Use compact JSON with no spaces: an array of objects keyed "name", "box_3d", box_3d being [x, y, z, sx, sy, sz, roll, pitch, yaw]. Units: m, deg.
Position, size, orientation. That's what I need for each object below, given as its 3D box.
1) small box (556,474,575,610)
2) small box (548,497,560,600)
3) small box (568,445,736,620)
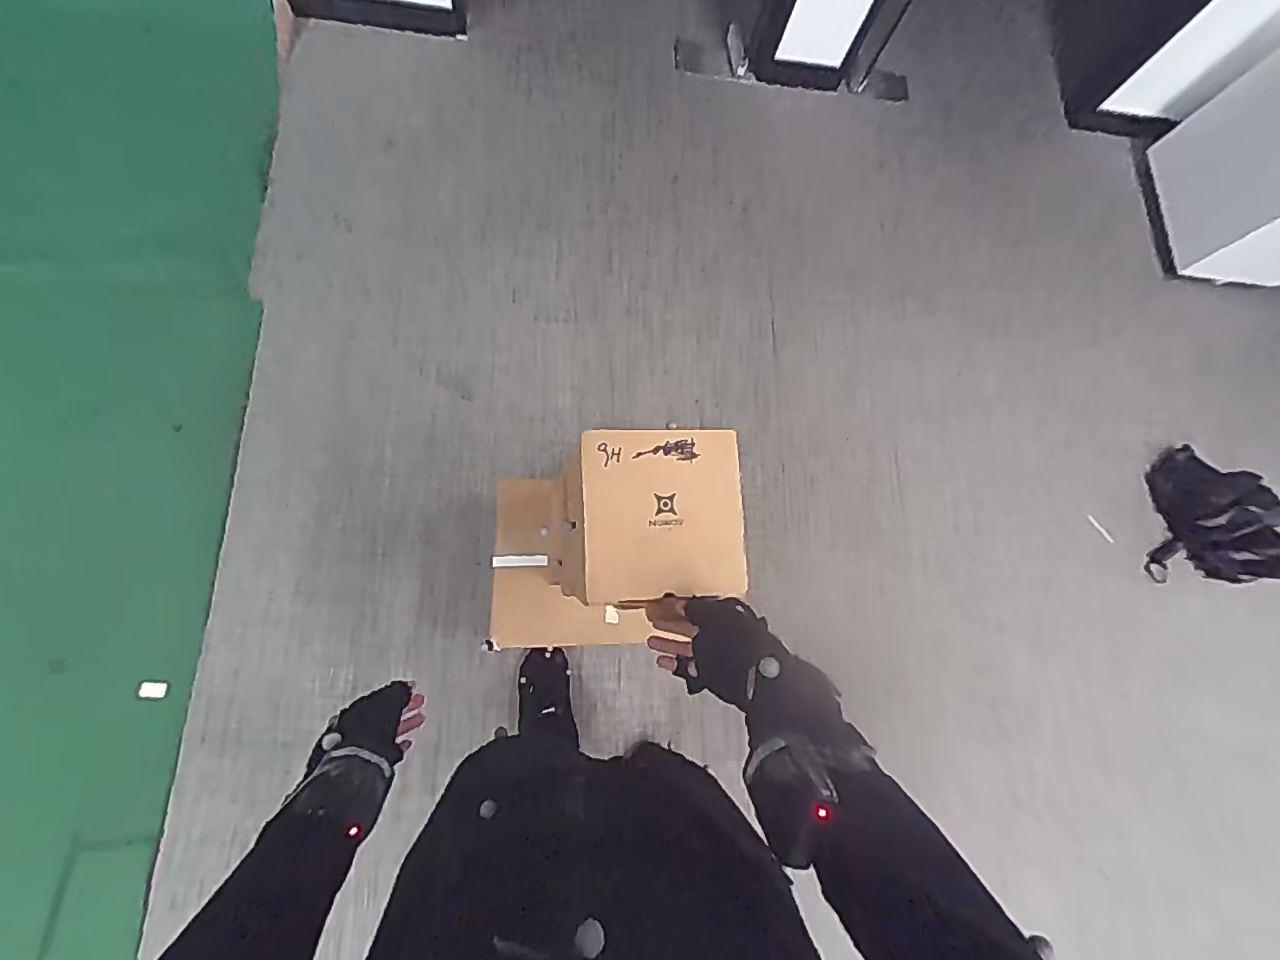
[{"name":"small box","box_3d":[-0.036,0.090,0.786,0.168,0.176,0.179,-2,80,-11]},{"name":"small box","box_3d":[-0.069,0.119,0.942,0.179,0.176,0.168,0,81,-10]},{"name":"small box","box_3d":[0.003,0.061,0.630,0.168,0.176,0.179,-1,81,-10]}]
